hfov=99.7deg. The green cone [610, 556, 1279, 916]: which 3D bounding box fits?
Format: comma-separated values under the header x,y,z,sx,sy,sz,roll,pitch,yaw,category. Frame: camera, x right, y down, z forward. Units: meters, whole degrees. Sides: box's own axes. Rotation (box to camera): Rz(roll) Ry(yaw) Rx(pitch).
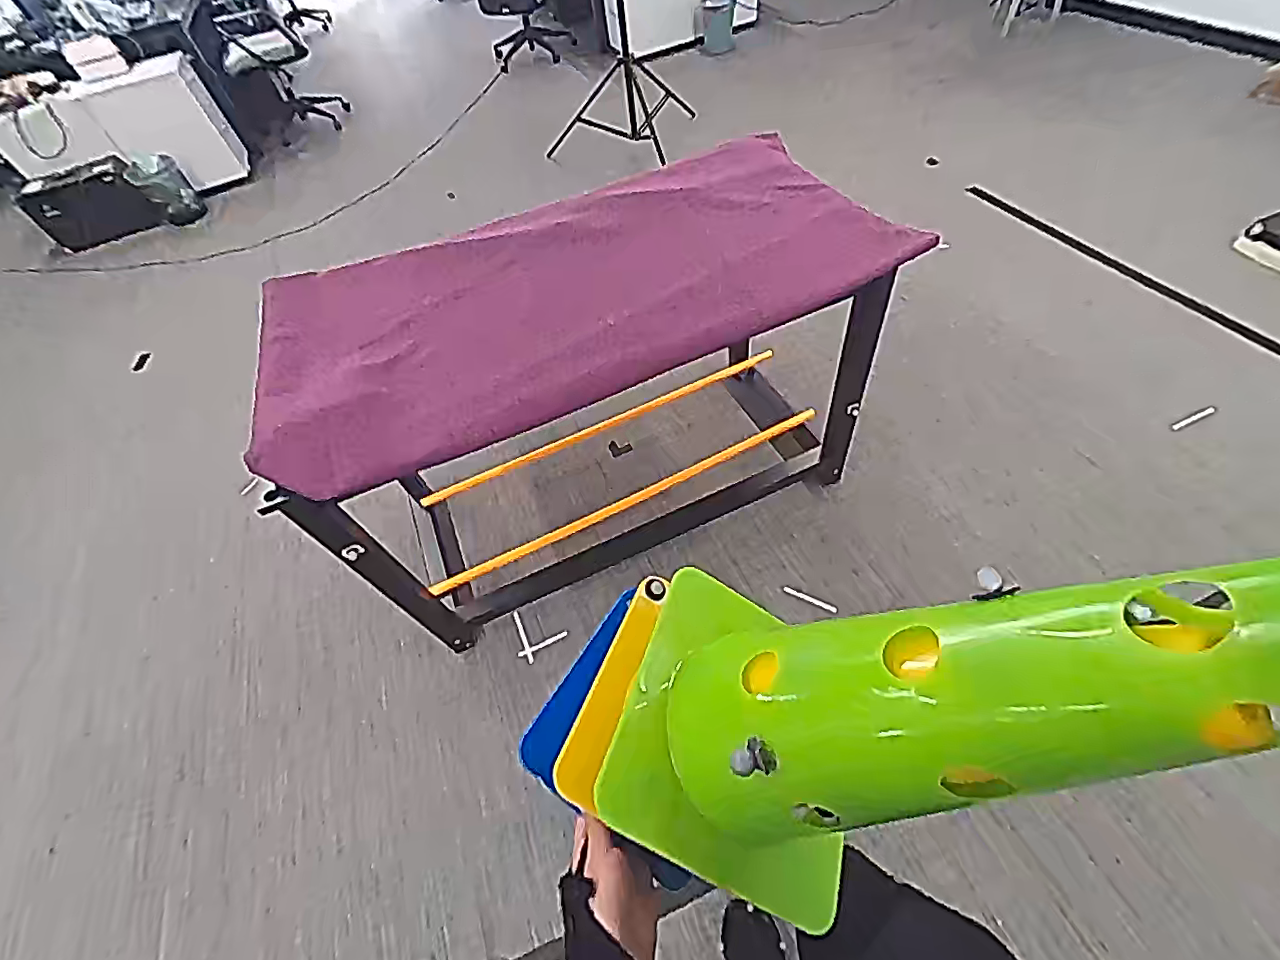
x,y,z,sx,sy,sz,roll,pitch,yaw,category
0.164,0.102,0.273,0.200,0.368,0.202,33,52,-9,green cone
